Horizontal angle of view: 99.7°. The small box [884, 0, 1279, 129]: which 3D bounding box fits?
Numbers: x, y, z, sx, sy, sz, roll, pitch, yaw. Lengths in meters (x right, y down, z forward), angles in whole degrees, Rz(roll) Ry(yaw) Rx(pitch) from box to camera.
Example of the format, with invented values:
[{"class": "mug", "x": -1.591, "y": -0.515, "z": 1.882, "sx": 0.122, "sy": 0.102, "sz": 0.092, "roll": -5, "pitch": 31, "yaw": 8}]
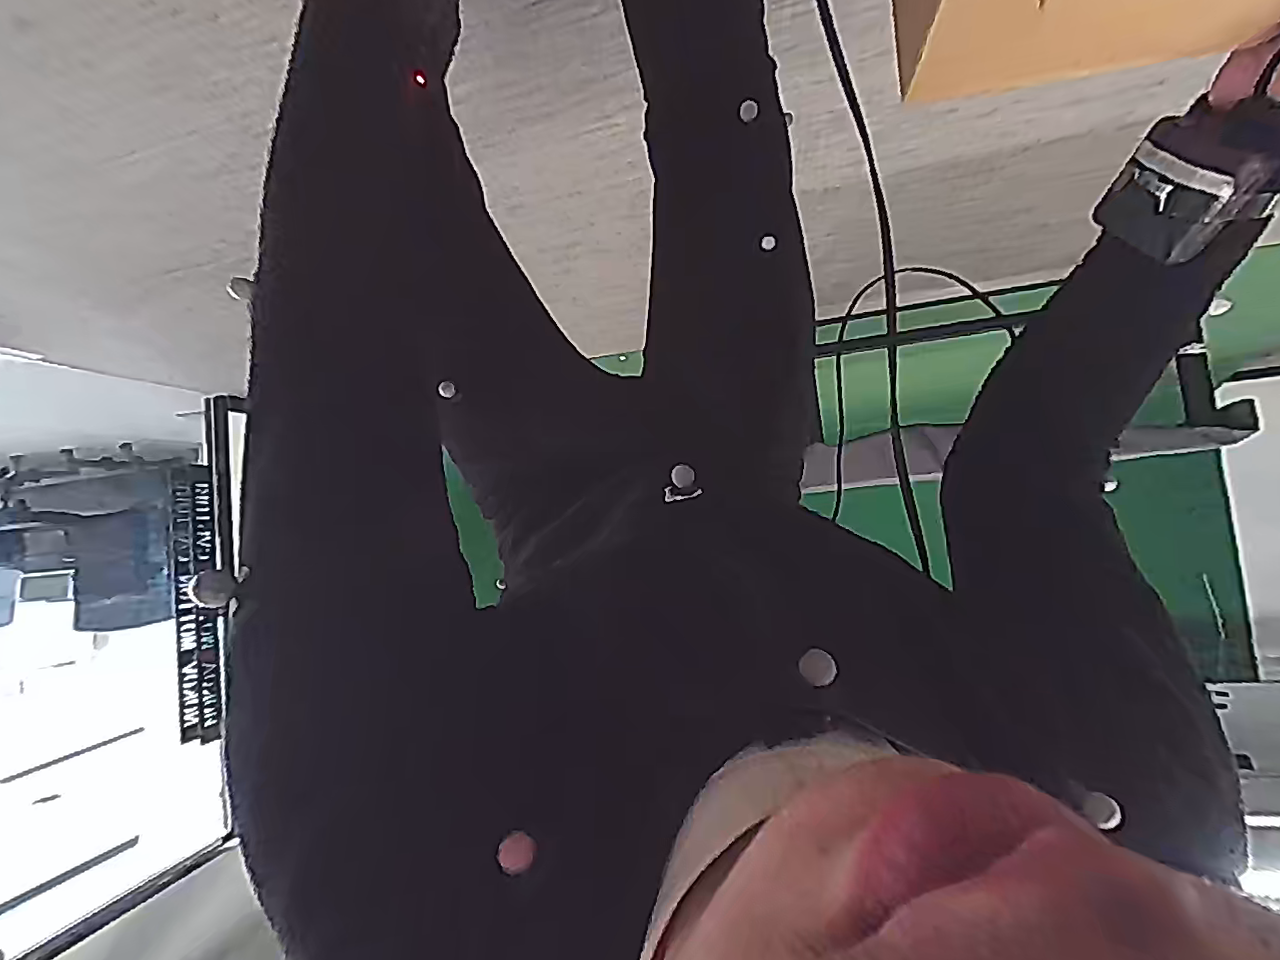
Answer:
[{"class": "small box", "x": 0.207, "y": -0.283, "z": 0.208, "sx": 0.179, "sy": 0.176, "sz": 0.168, "roll": -3, "pitch": 172, "yaw": 8}]
